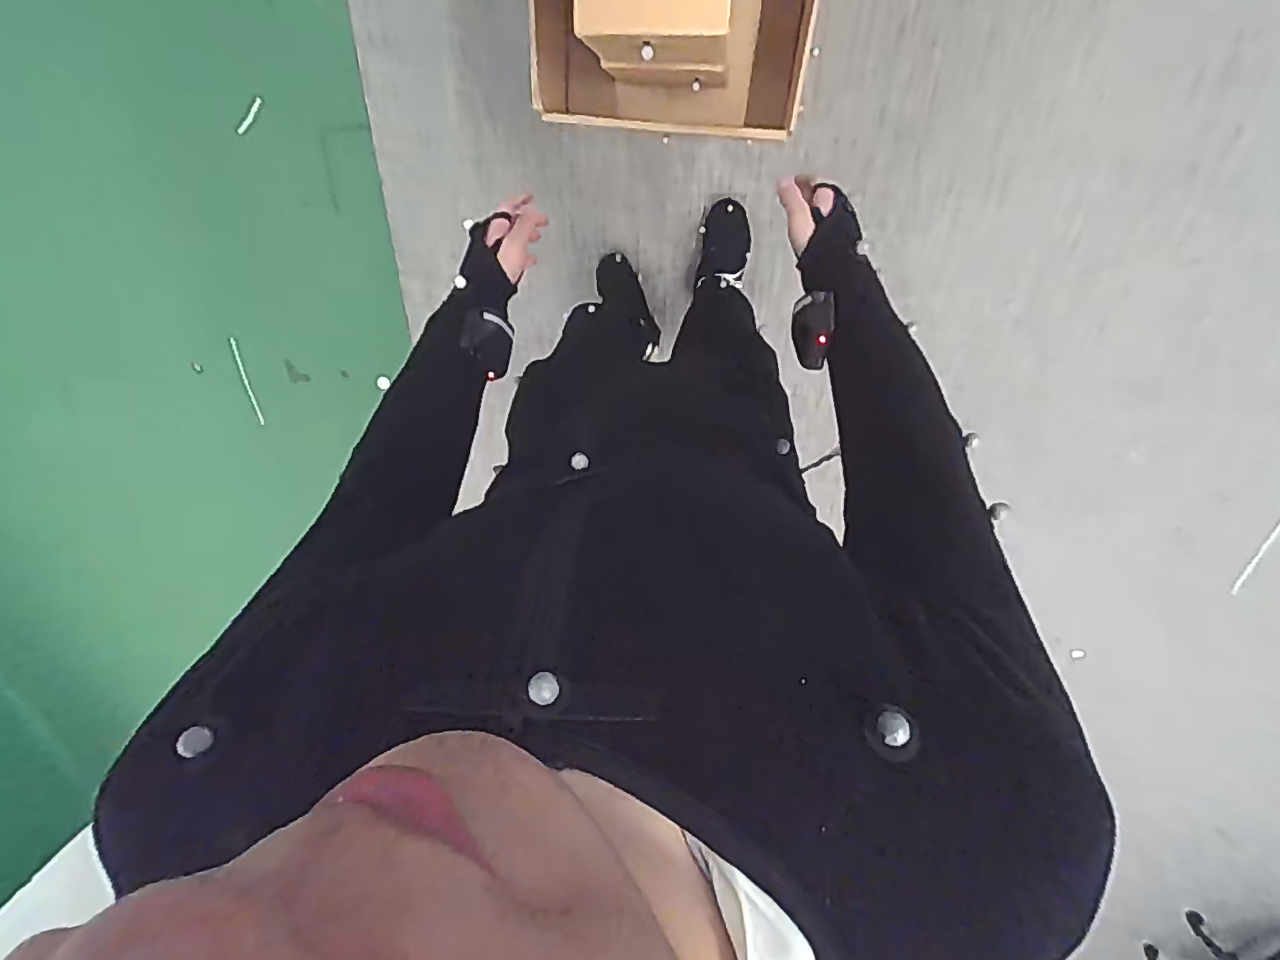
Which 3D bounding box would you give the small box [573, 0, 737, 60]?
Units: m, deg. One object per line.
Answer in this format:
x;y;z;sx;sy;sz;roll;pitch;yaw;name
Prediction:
0.028;-0.602;0.622;0.179;0.176;0.168;7;121;8;small box
